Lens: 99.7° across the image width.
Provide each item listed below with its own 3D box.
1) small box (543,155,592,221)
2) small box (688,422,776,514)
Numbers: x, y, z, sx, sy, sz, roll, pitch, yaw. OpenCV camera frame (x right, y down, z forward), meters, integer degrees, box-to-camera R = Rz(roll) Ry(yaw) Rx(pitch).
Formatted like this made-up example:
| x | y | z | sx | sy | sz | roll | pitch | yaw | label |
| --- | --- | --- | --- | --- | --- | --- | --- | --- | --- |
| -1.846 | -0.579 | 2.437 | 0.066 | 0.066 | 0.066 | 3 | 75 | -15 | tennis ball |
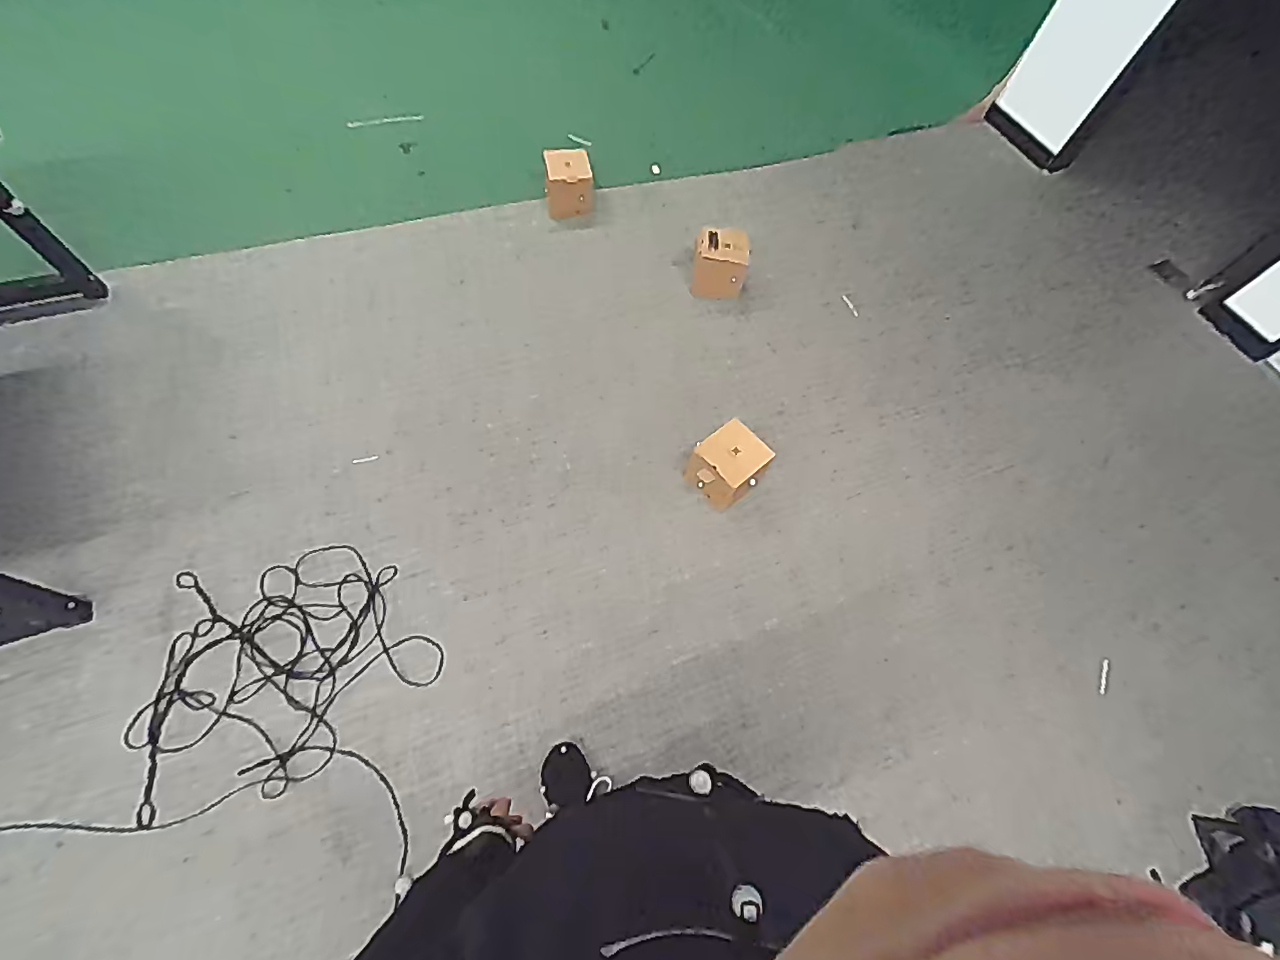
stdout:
| x | y | z | sx | sy | sz | roll | pitch | yaw | label |
| --- | --- | --- | --- | --- | --- | --- | --- | --- | --- |
| -0.281 | -1.134 | 2.112 | 0.168 | 0.176 | 0.179 | -9 | 63 | -12 | small box |
| 0.261 | -0.031 | 1.584 | 0.179 | 0.176 | 0.168 | -37 | 72 | -21 | small box |
